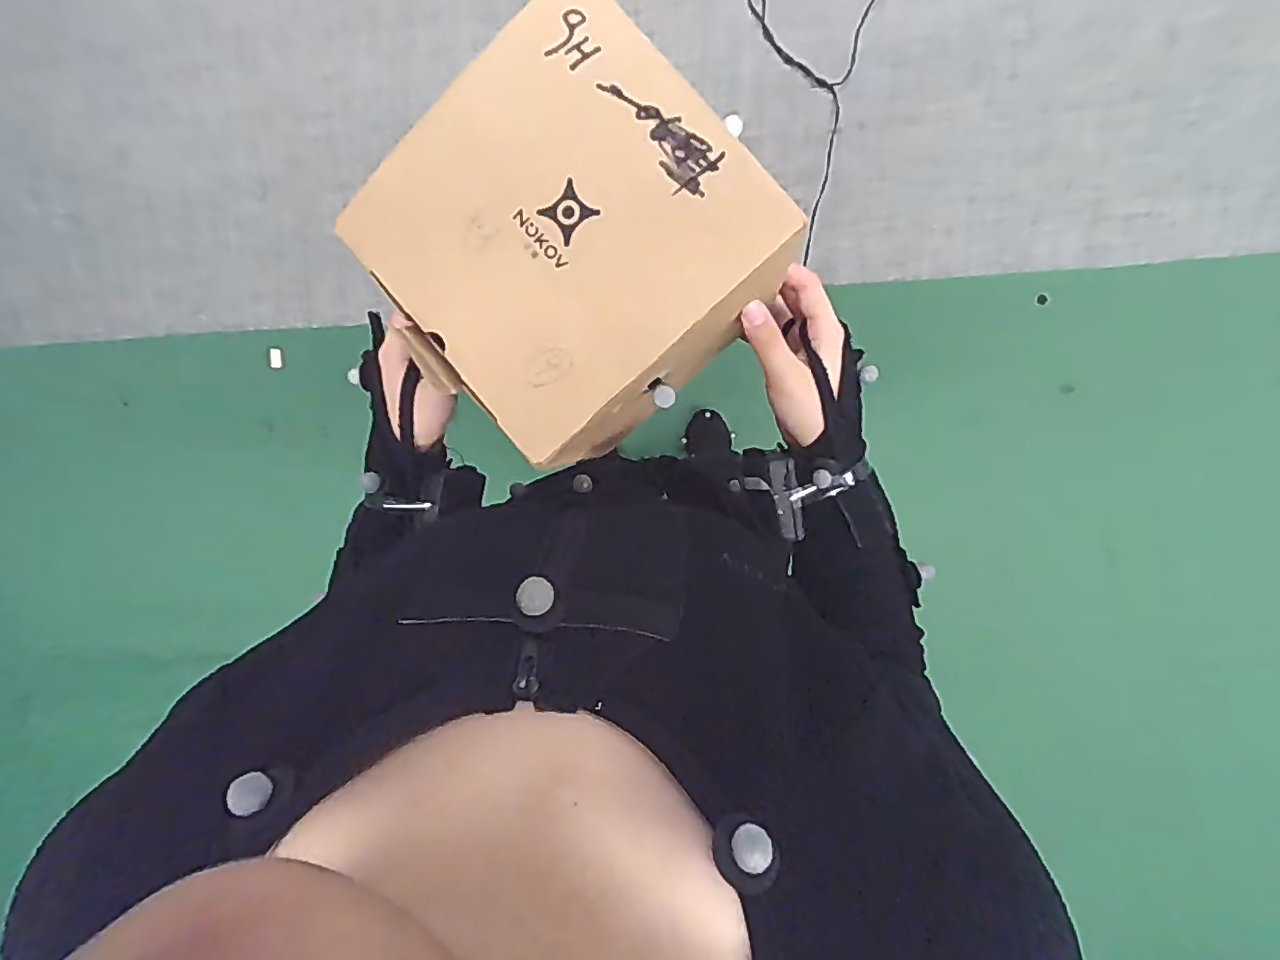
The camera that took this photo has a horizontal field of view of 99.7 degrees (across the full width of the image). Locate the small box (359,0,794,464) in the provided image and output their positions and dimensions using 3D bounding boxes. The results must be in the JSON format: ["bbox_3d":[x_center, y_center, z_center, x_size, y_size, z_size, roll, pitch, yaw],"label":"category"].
[{"bbox_3d":[-0.027,-0.128,0.354,0.179,0.176,0.168,-41,88,9],"label":"small box"}]
